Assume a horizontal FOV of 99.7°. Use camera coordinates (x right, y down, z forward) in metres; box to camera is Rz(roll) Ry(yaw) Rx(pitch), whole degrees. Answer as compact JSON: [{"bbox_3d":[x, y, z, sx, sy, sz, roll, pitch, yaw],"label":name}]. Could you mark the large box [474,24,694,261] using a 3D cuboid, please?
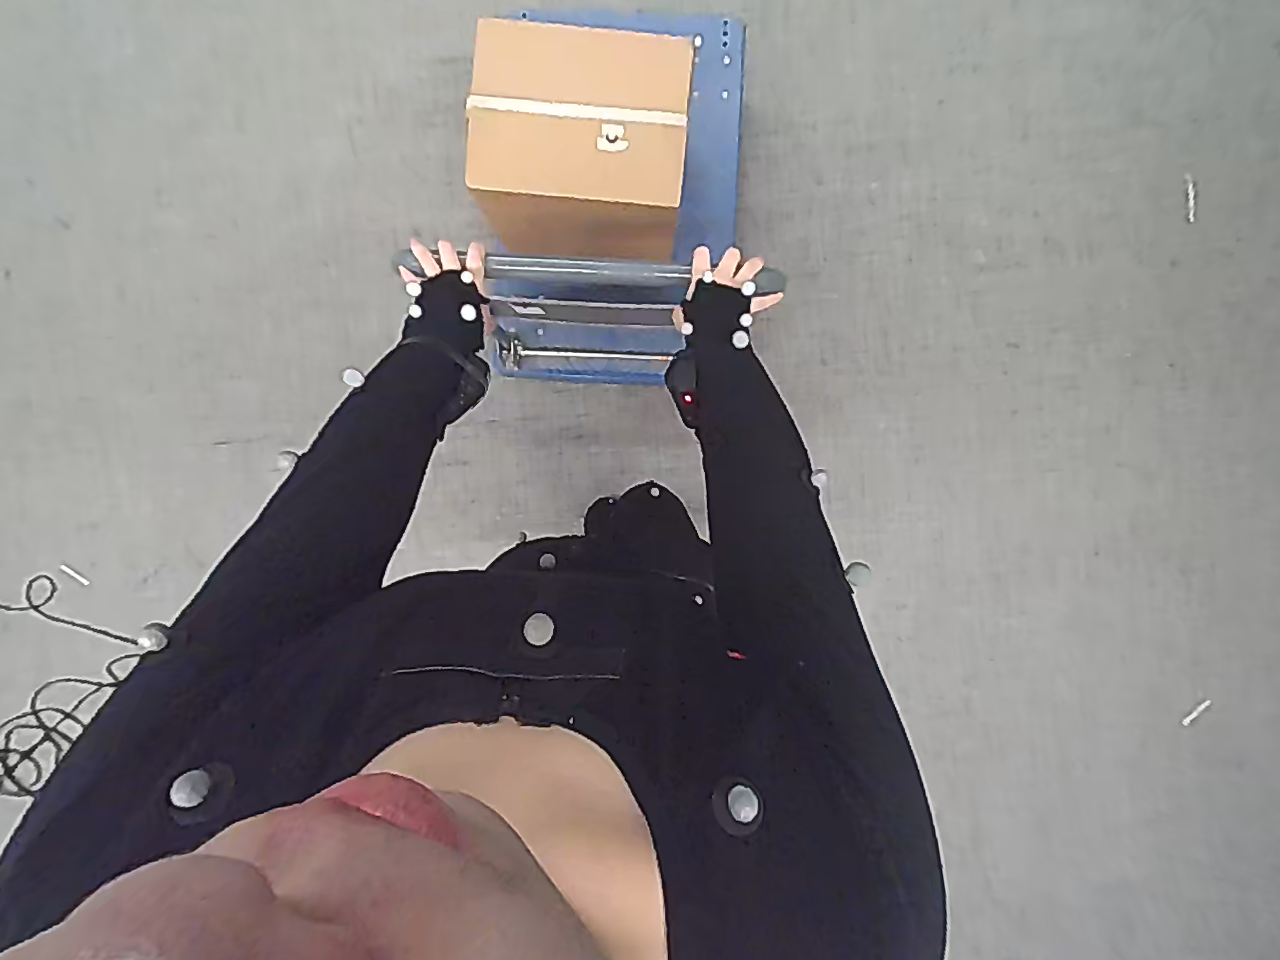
[{"bbox_3d":[-0.111,-0.695,1.169,0.408,0.320,0.320,5,92,-1],"label":"large box"}]
